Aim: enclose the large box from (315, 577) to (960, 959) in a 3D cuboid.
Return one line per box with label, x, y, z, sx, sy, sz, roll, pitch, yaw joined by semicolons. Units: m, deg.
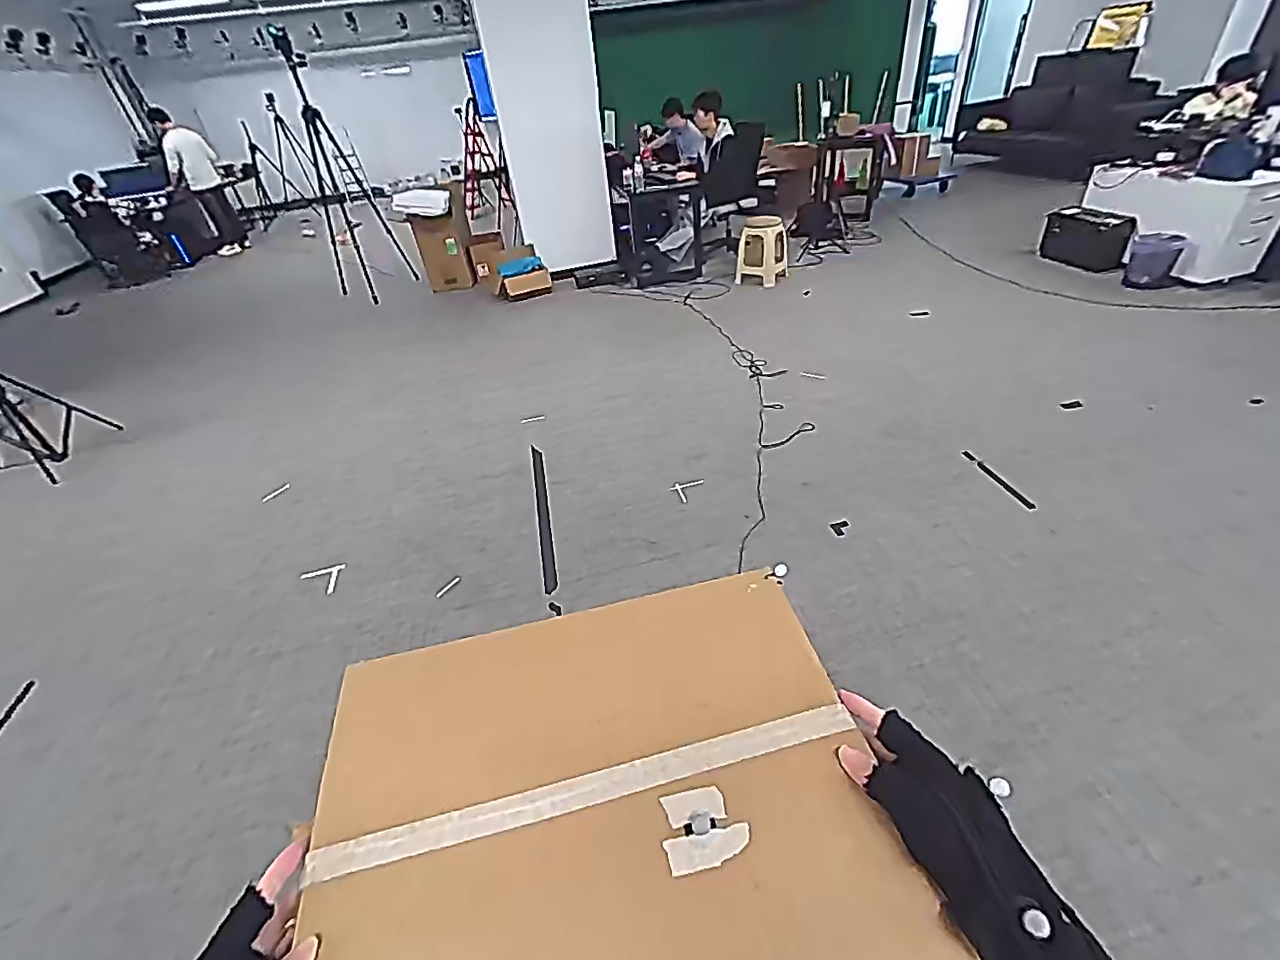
large box;-0.021;0.345;0.508;0.408;0.320;0.320;-11;43;-8
